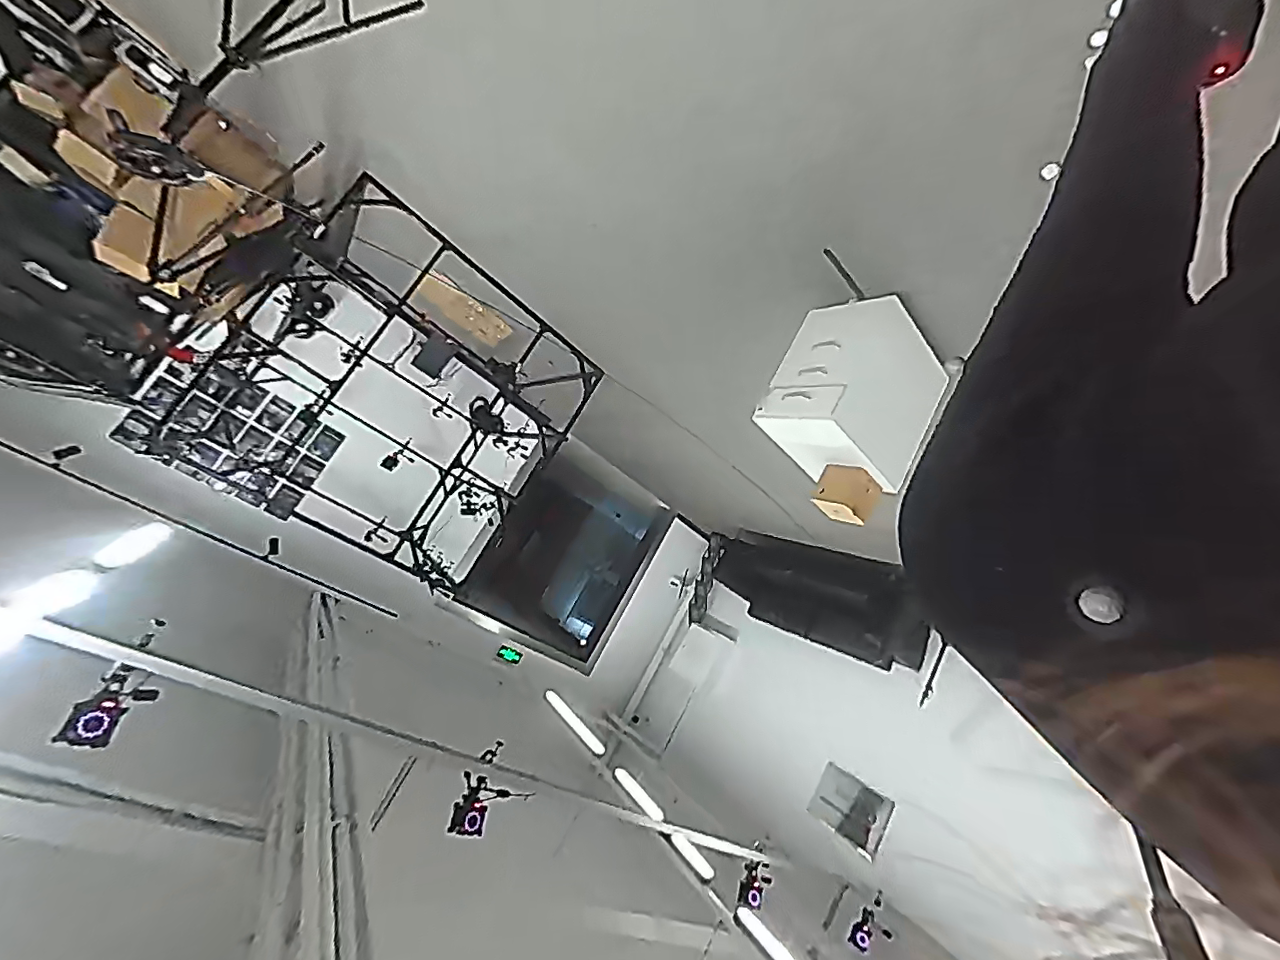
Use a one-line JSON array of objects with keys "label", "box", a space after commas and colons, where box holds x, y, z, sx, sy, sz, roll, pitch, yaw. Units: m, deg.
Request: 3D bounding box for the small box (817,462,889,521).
[{"label": "small box", "box": [0.849, 0.041, 2.153, 0.168, 0.176, 0.179, 36, 168, -29]}]
